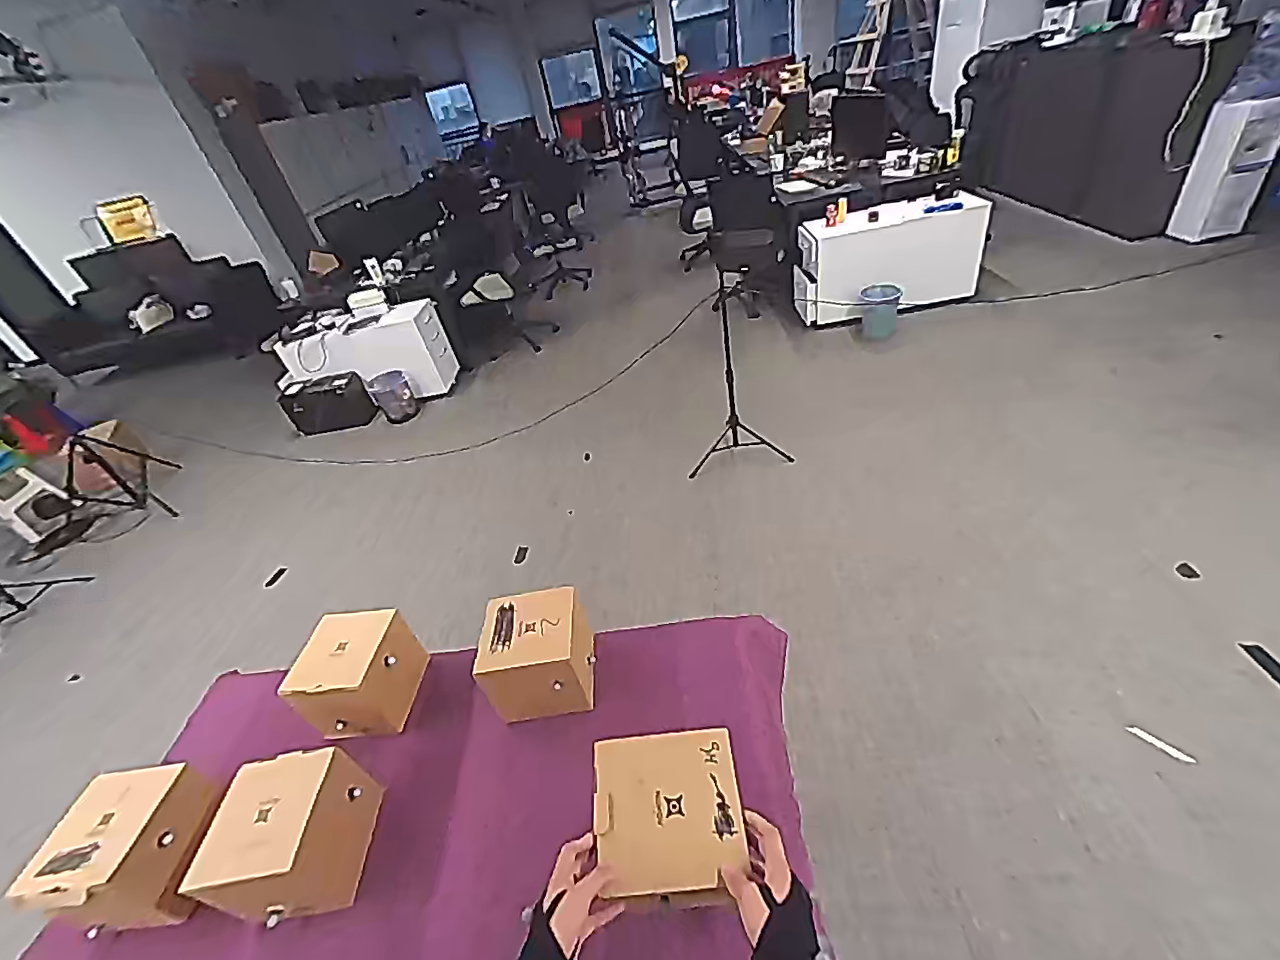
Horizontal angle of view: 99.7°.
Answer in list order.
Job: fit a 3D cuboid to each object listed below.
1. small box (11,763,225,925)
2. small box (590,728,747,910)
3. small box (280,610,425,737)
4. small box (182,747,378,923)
[{"bbox_3d":[-0.816,0.599,0.885,0.168,0.176,0.179,-9,36,5],"label":"small box"},{"bbox_3d":[0.037,0.440,0.698,0.179,0.176,0.168,-7,48,3],"label":"small box"},{"bbox_3d":[-0.556,0.385,1.078,0.168,0.176,0.179,-6,38,8],"label":"small box"},{"bbox_3d":[-0.546,0.560,0.856,0.168,0.176,0.179,-12,37,3],"label":"small box"}]
